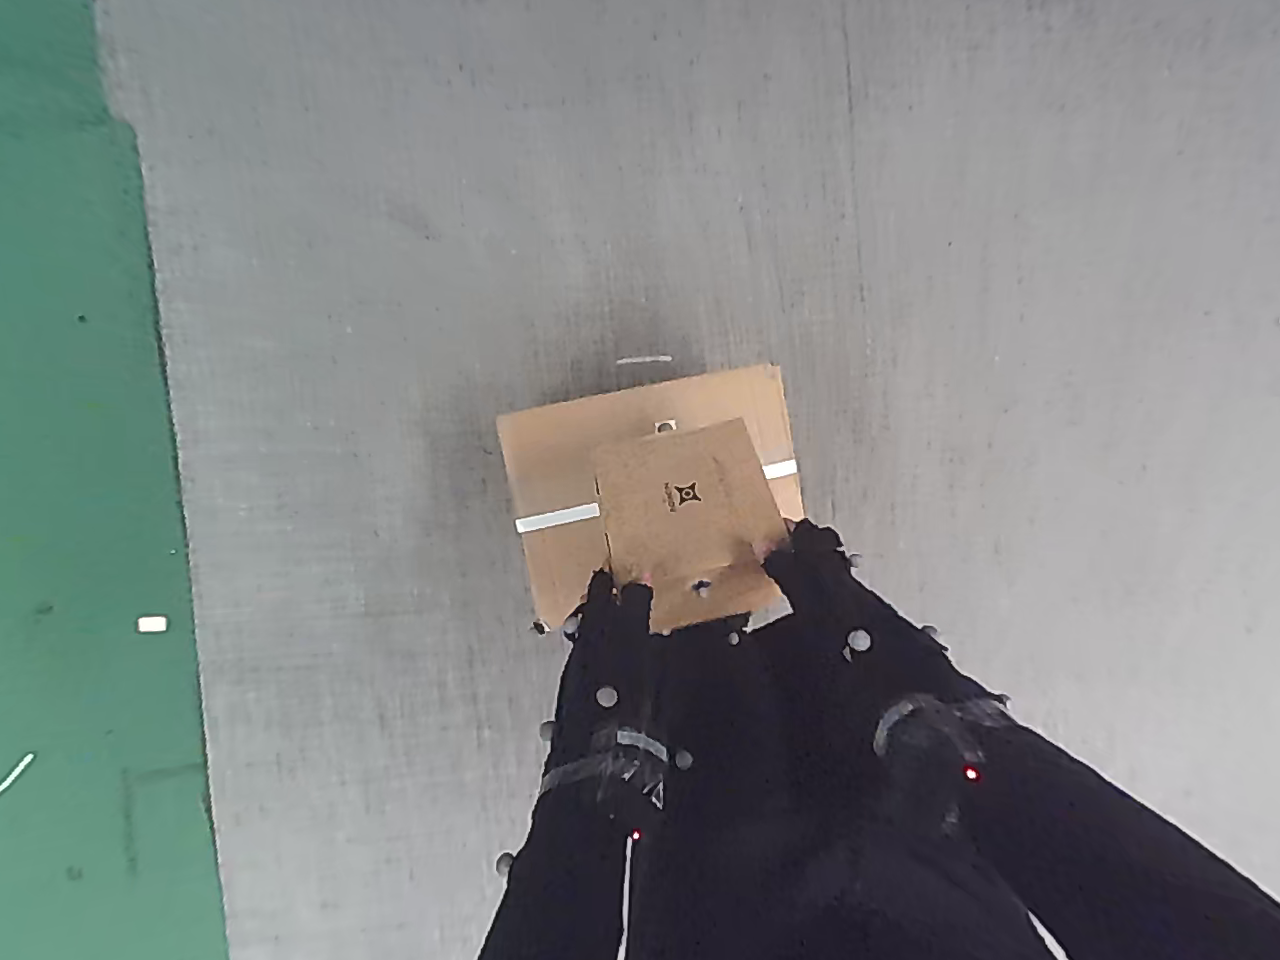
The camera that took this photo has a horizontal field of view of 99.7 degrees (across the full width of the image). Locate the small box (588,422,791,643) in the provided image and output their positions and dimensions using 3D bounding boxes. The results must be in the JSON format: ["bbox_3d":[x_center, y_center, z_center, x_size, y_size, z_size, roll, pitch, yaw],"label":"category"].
[{"bbox_3d":[0.051,0.065,0.606,0.179,0.176,0.168,-13,55,-2],"label":"small box"}]
